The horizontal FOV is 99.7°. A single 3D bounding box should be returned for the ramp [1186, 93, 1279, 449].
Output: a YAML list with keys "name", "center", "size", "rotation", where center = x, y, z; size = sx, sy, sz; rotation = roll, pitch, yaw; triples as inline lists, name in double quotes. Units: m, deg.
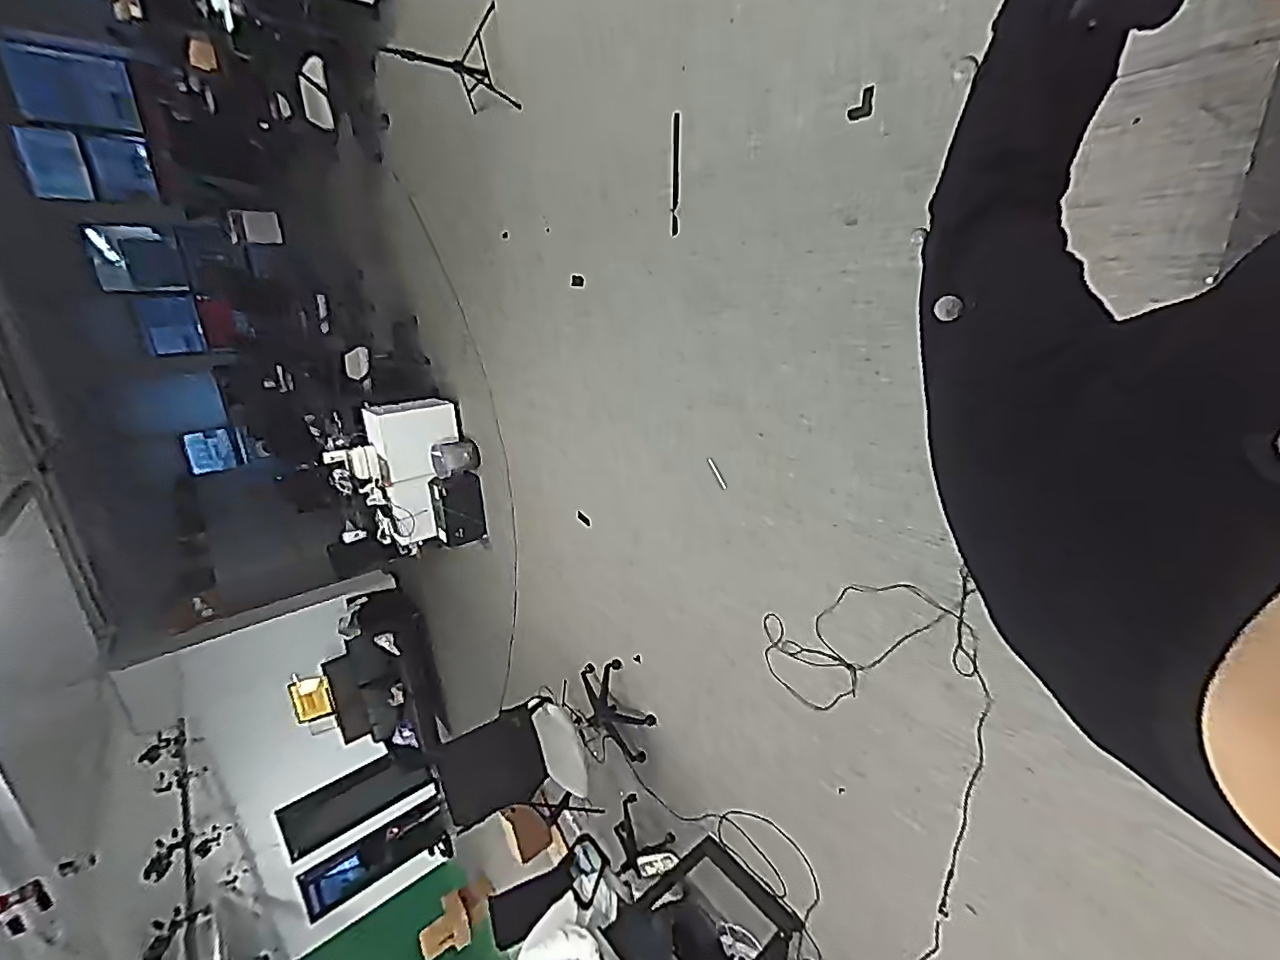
- name: "ramp"
  center: [1.217, -0.475, 0.749]
  size: [0.509, 0.206, 0.991]
  rotation: [17, 118, 47]
